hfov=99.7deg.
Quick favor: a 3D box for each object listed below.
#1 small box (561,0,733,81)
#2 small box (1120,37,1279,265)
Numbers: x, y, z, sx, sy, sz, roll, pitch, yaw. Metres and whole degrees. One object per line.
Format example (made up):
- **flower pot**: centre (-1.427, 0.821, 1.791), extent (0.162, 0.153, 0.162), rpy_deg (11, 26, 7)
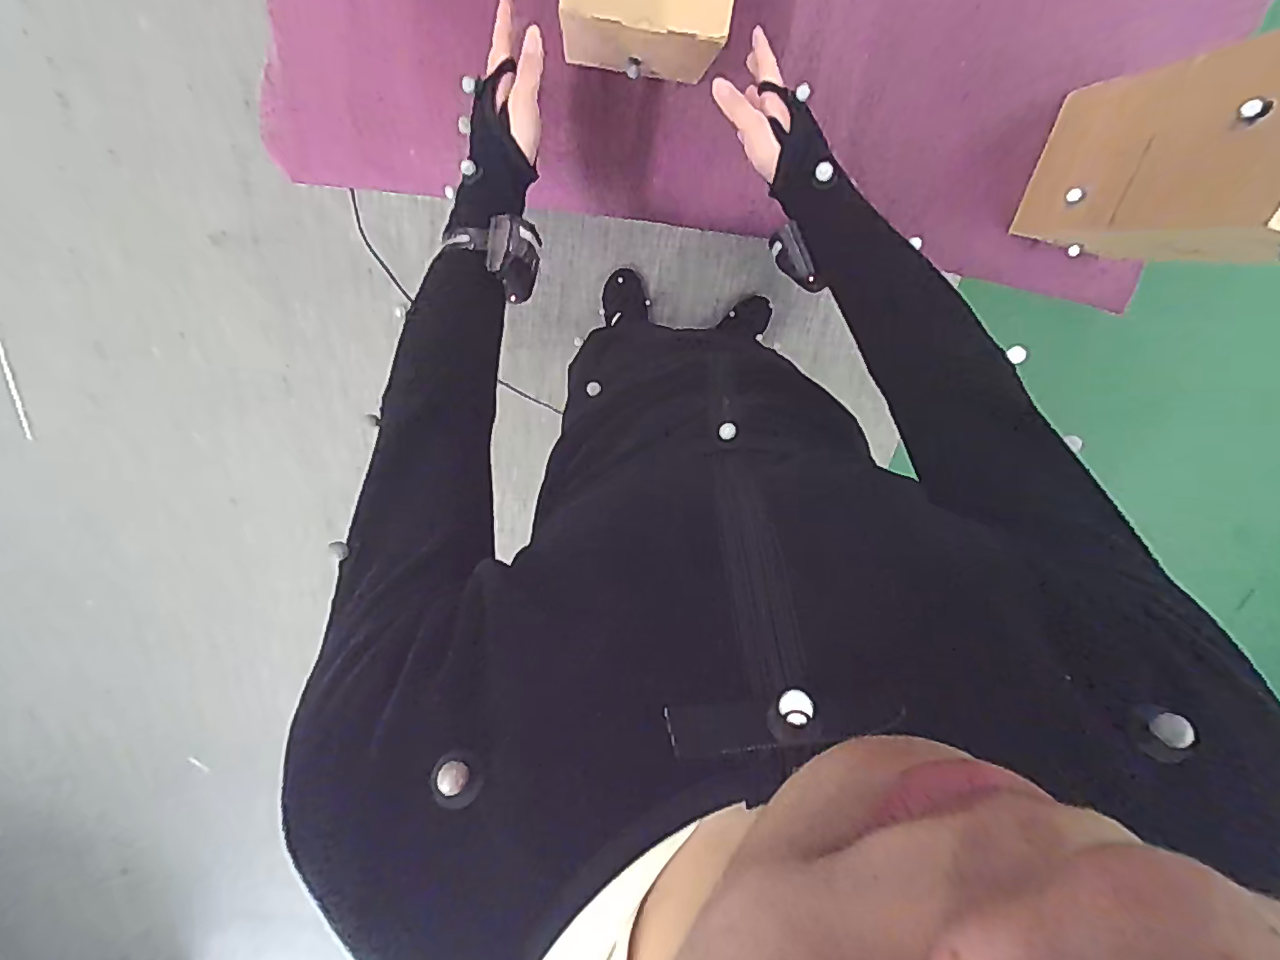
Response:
- **small box**: centre (0.009, -0.548, 0.560), extent (0.168, 0.176, 0.179), rpy_deg (4, 116, -6)
- **small box**: centre (0.647, -0.321, 0.536), extent (0.168, 0.176, 0.179), rpy_deg (10, 112, -8)
